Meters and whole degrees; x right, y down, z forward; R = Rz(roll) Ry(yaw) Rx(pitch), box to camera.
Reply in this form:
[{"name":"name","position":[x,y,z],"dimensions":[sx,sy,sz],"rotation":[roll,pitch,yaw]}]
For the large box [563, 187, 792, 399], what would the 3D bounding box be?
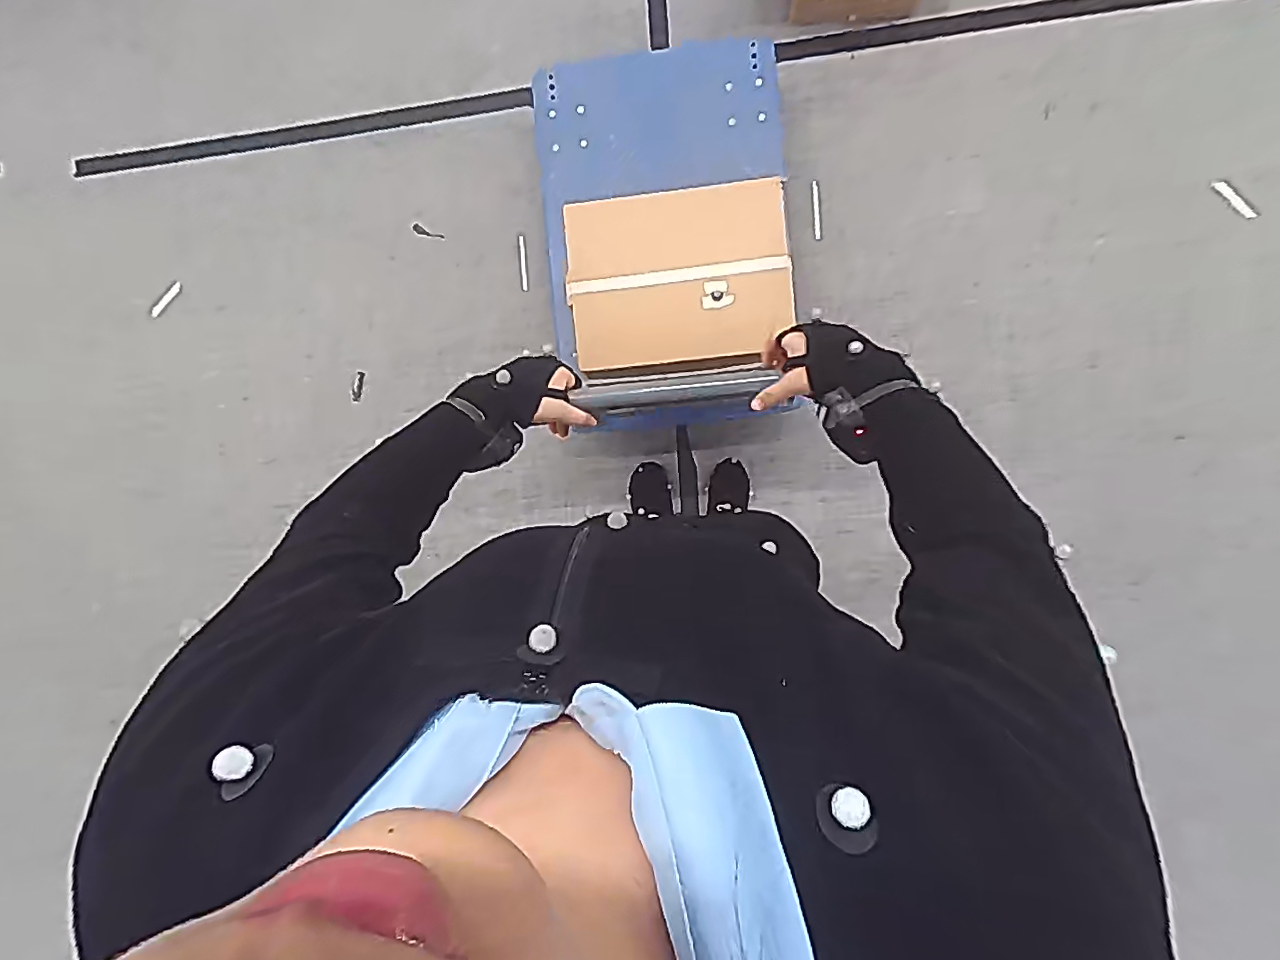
[{"name":"large box","position":[0.074,-0.364,1.144],"dimensions":[0.408,0.320,0.320],"rotation":[-5,92,3]}]
